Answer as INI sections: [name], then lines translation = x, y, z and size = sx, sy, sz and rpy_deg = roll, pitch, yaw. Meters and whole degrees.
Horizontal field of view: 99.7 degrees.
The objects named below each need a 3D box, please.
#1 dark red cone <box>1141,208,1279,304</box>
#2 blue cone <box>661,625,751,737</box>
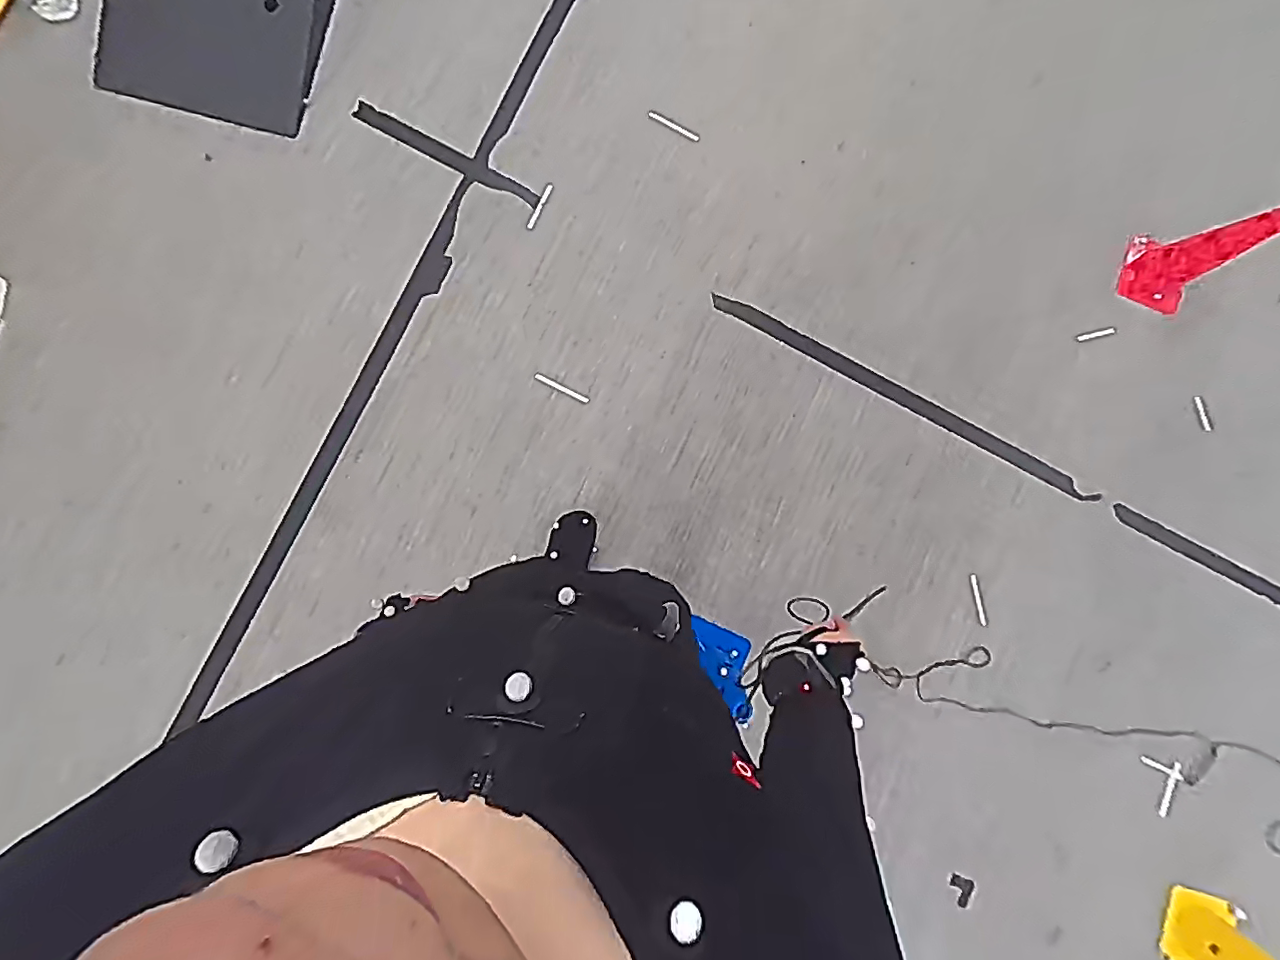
[dark red cone]
translation = 1.550, -0.626, 1.381
size = 0.202, 0.394, 0.201
rpy_deg = 18, 86, -4
[blue cone]
translation = 0.182, 0.468, 1.207
size = 0.193, 0.380, 0.192
rpy_deg = 27, 85, -3
